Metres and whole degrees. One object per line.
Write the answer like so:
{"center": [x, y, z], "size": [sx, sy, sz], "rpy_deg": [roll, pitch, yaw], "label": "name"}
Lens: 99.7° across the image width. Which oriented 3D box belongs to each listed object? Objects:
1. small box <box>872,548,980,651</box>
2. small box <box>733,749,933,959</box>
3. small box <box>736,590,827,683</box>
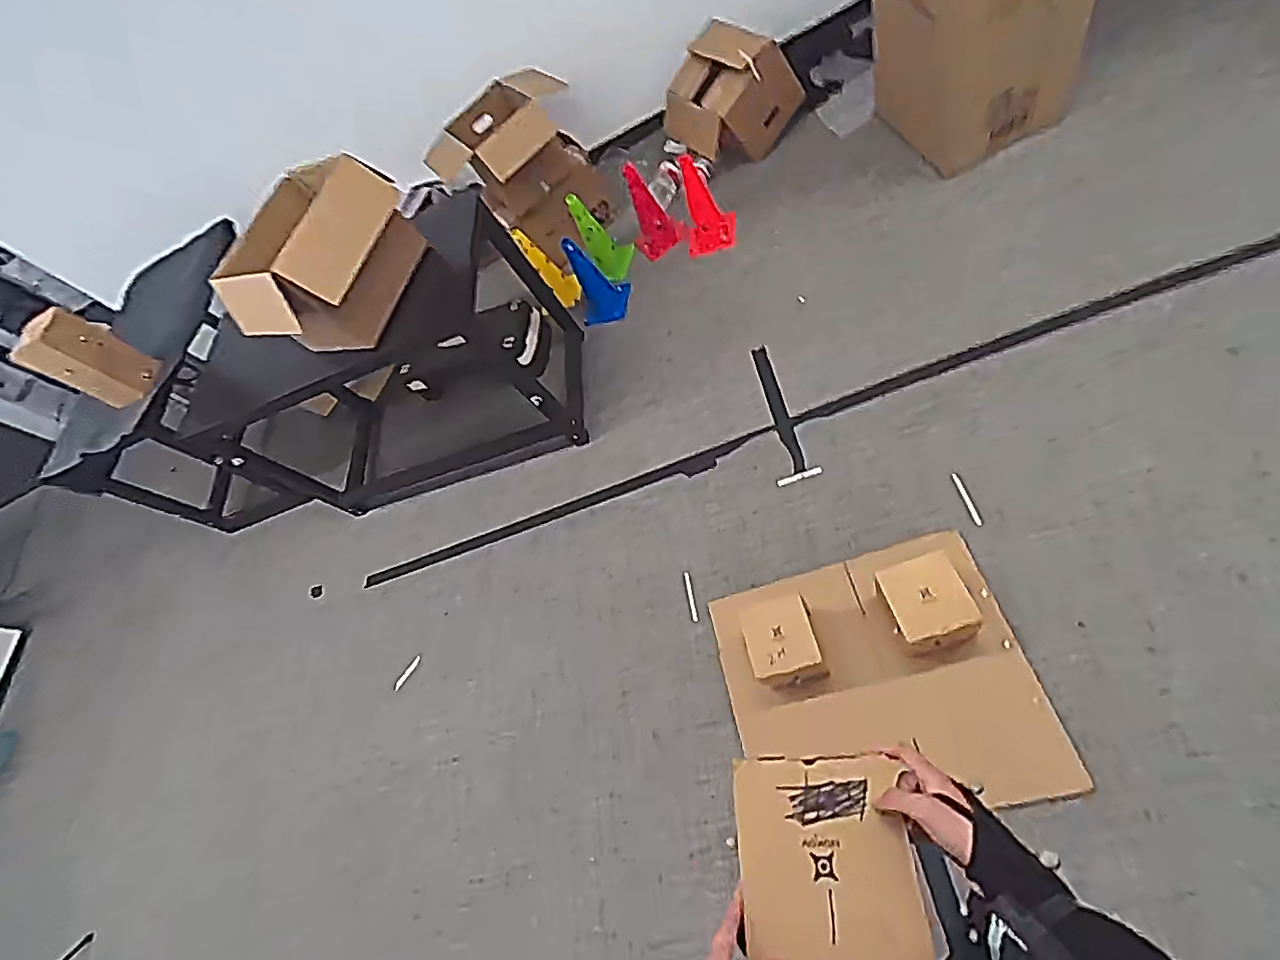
{"center": [0.675, 0.291, 1.295], "size": [0.168, 0.176, 0.179], "rpy_deg": [-24, 57, 13], "label": "small box"}
{"center": [0.193, 0.407, 0.593], "size": [0.168, 0.176, 0.179], "rpy_deg": [-6, 54, 10], "label": "small box"}
{"center": [0.362, 0.405, 1.381], "size": [0.168, 0.176, 0.179], "rpy_deg": [-22, 58, 16], "label": "small box"}
